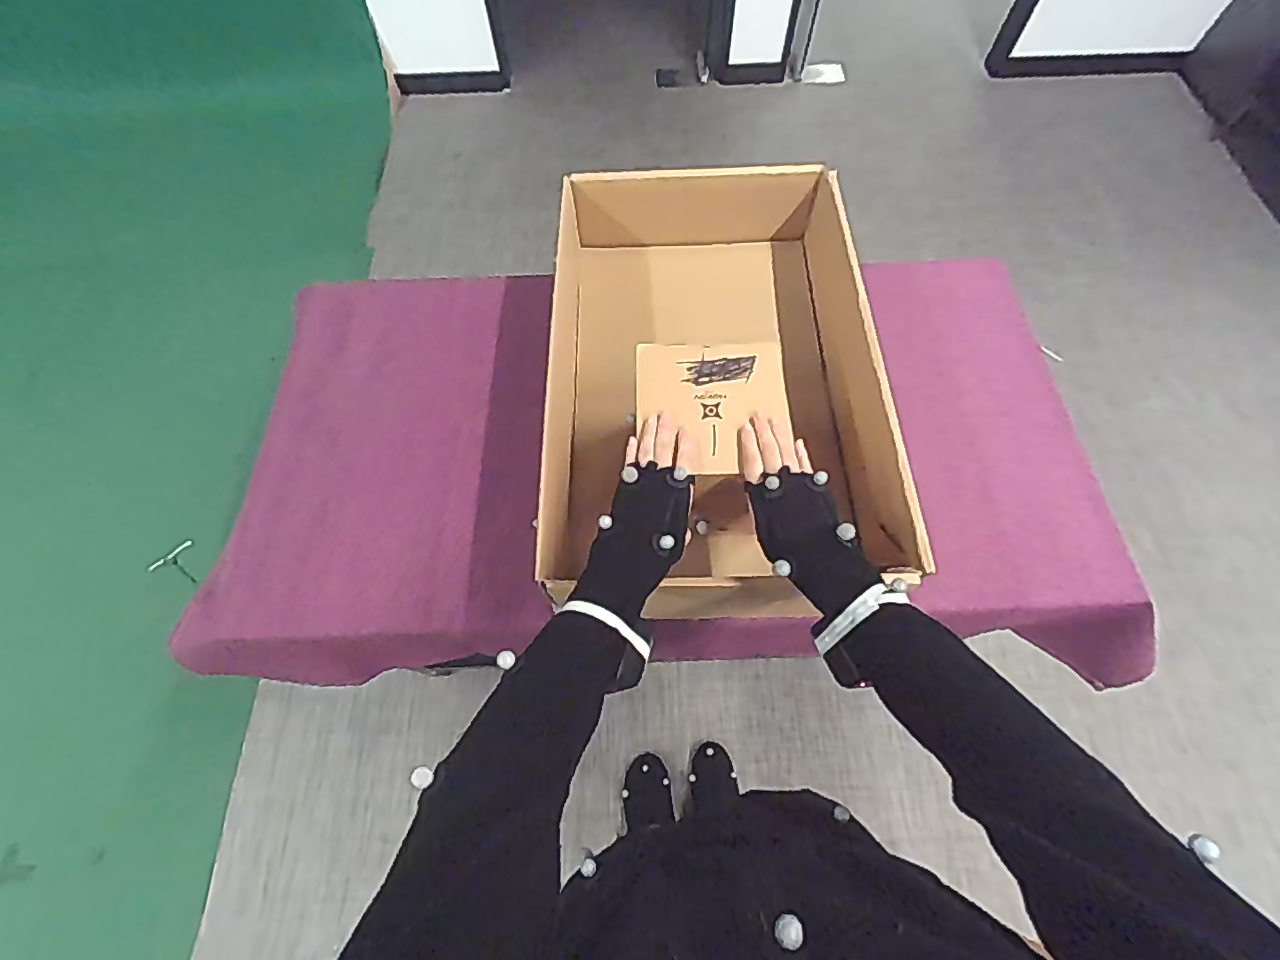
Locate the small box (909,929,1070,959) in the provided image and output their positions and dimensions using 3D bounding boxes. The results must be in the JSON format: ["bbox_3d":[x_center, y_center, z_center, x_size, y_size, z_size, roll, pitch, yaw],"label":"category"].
[{"bbox_3d":[0.511,0.769,0.771,0.168,0.176,0.179,-1,64,1],"label":"small box"}]

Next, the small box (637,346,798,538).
[{"bbox_3d":[0.080,-0.041,0.658,0.168,0.176,0.179,-1,63,1],"label":"small box"}]
